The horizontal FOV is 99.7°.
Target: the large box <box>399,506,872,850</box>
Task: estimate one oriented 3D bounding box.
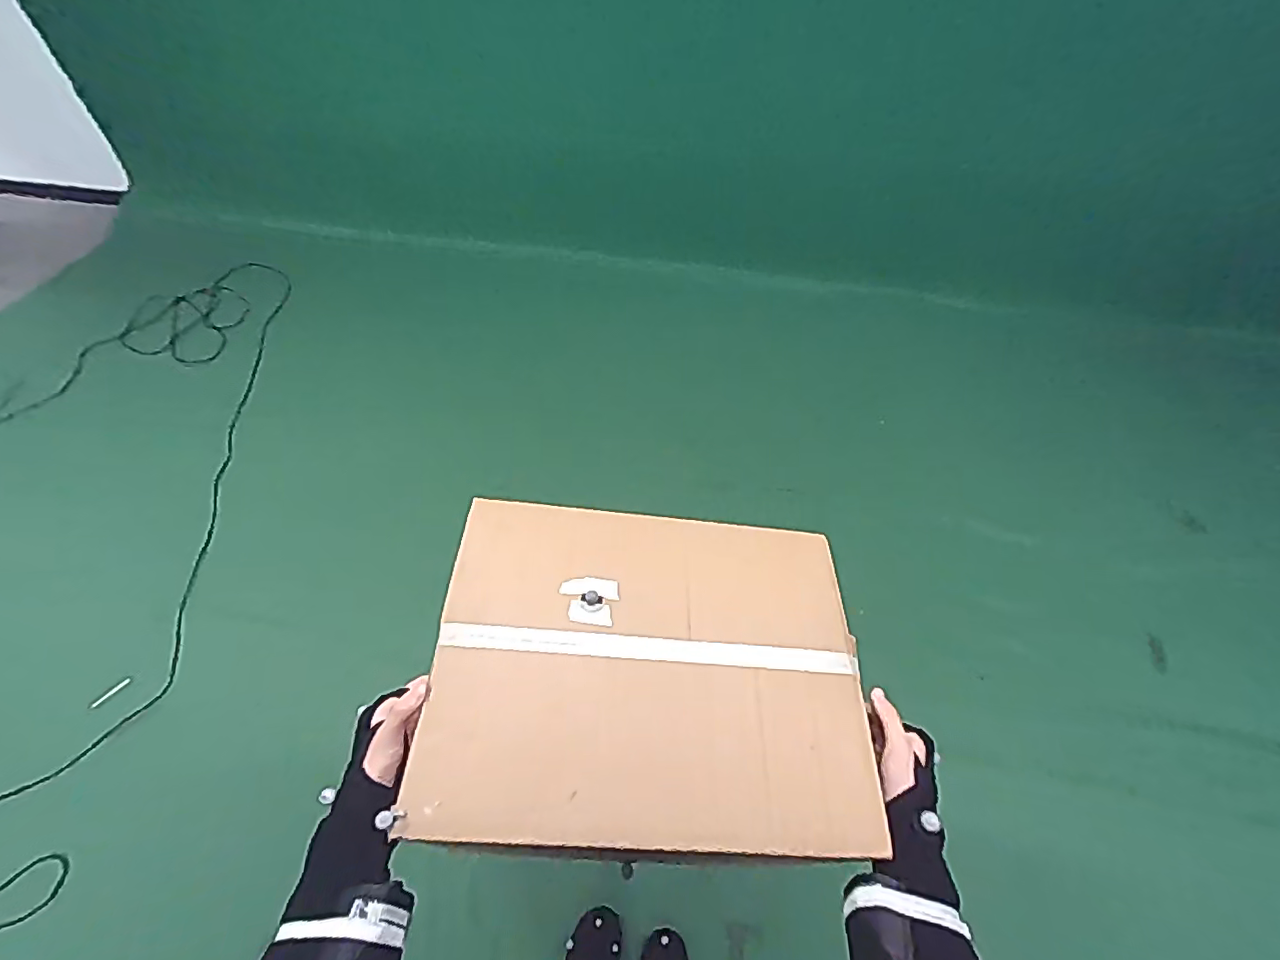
[{"bbox_3d":[-0.010,0.254,0.651,0.408,0.320,0.320,6,54,-5],"label":"large box"}]
